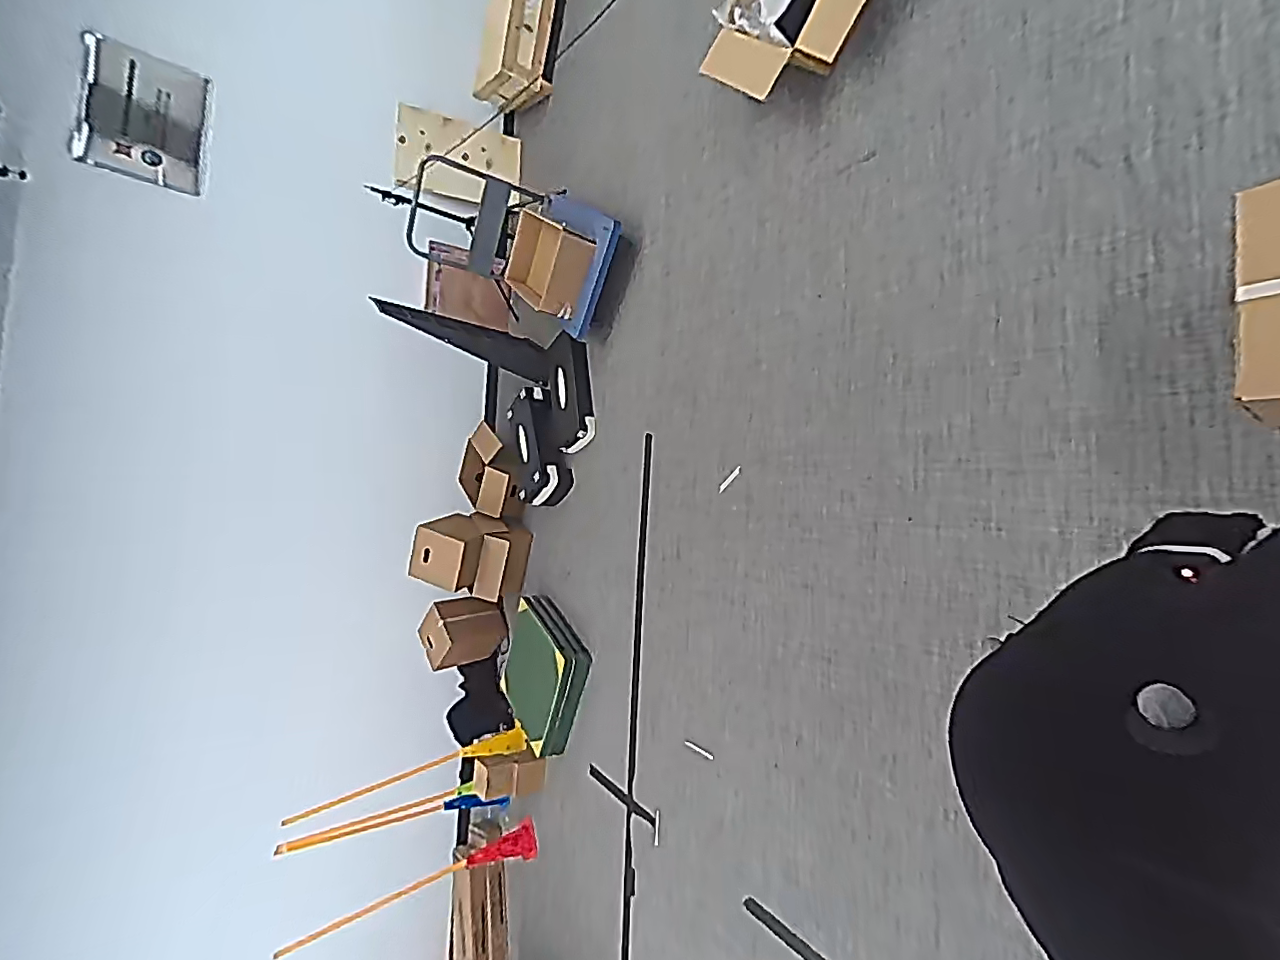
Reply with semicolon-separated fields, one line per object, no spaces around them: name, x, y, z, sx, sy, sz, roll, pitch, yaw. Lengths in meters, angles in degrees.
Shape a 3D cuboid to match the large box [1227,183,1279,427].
large box;1.102;-0.260;0.720;0.408;0.320;0.320;-2;85;54
